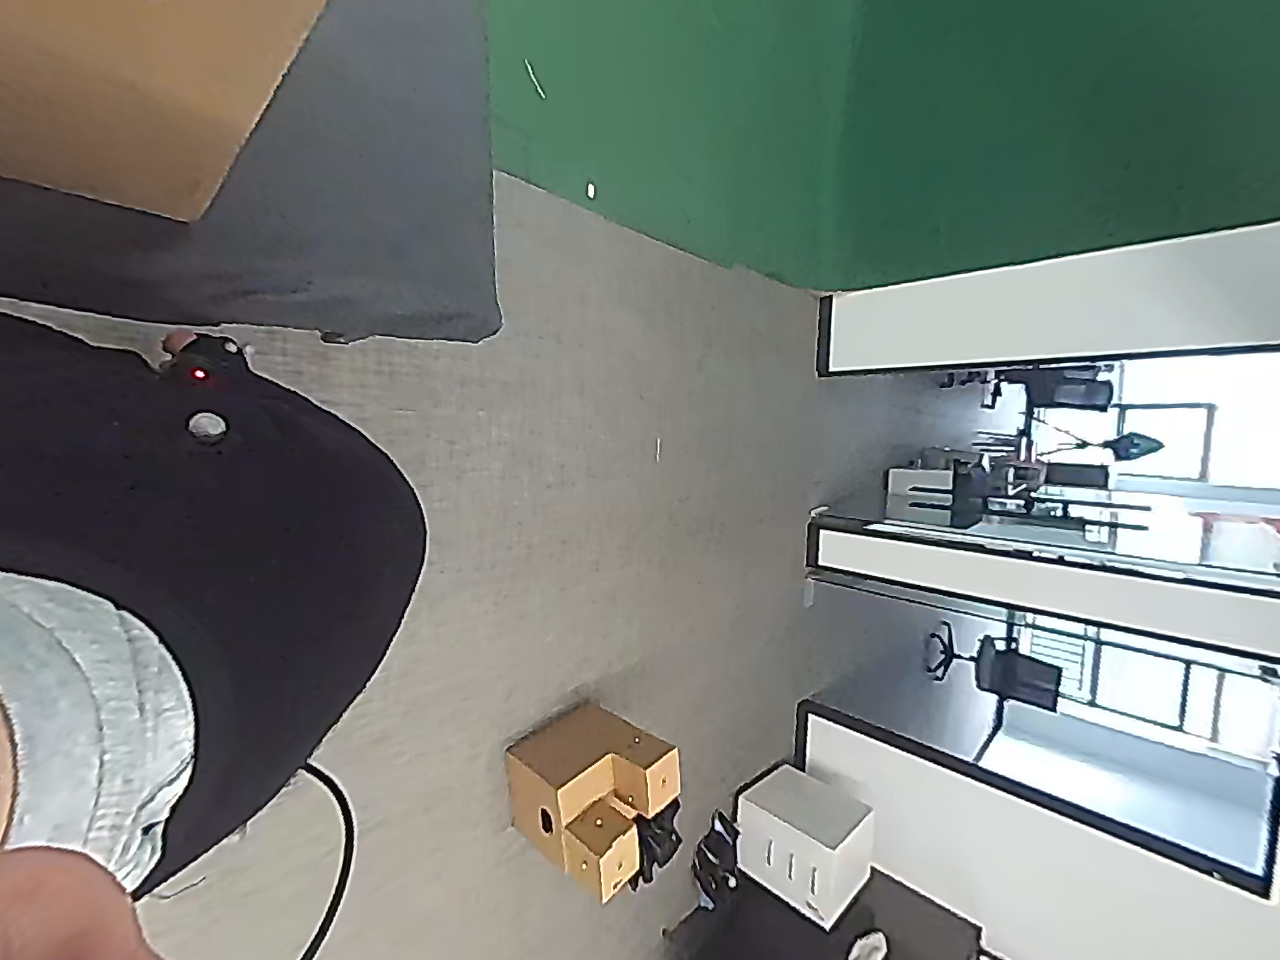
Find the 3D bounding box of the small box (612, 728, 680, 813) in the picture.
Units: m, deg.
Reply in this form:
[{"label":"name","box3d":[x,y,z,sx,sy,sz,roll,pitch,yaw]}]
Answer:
[{"label":"small box","box3d":[0.020,1.006,1.887,0.168,0.176,0.179,-12,99,-46]}]

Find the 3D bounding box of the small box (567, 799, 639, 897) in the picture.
[{"label":"small box","box3d":[-0.122,1.179,1.757,0.168,0.176,0.179,-16,107,-44]}]
